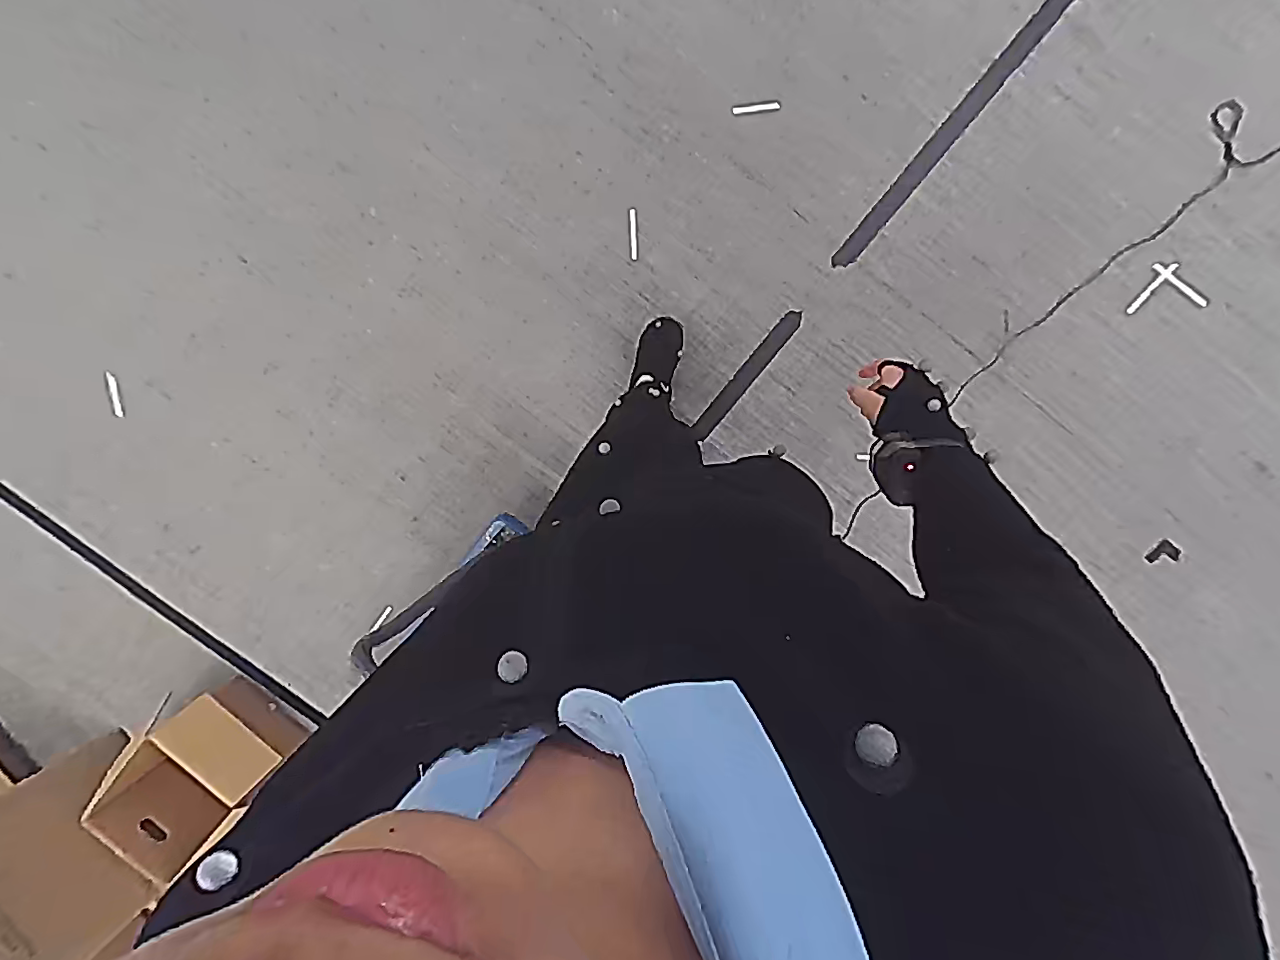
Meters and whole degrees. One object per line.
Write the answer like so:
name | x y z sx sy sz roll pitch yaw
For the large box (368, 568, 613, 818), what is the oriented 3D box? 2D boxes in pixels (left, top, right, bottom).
large box | -0.327 0.479 1.281 0.408 0.320 0.320 35 102 -1
